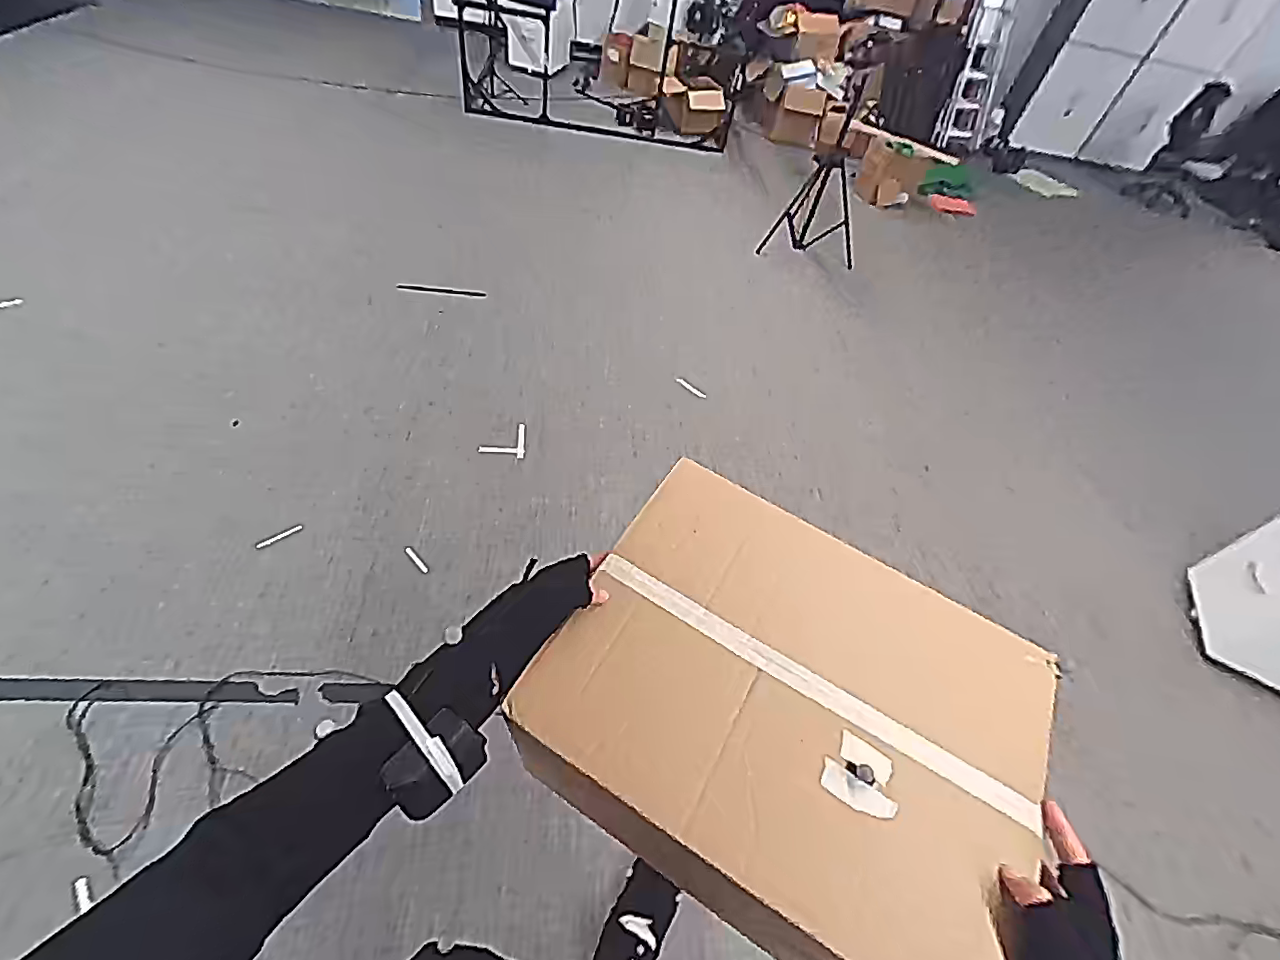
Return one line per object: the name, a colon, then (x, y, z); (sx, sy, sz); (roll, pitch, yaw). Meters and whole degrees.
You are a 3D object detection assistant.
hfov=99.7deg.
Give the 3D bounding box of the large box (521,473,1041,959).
large box: (0.125, 0.267, 0.601); (0.408, 0.320, 0.320); (30, 57, 13)
